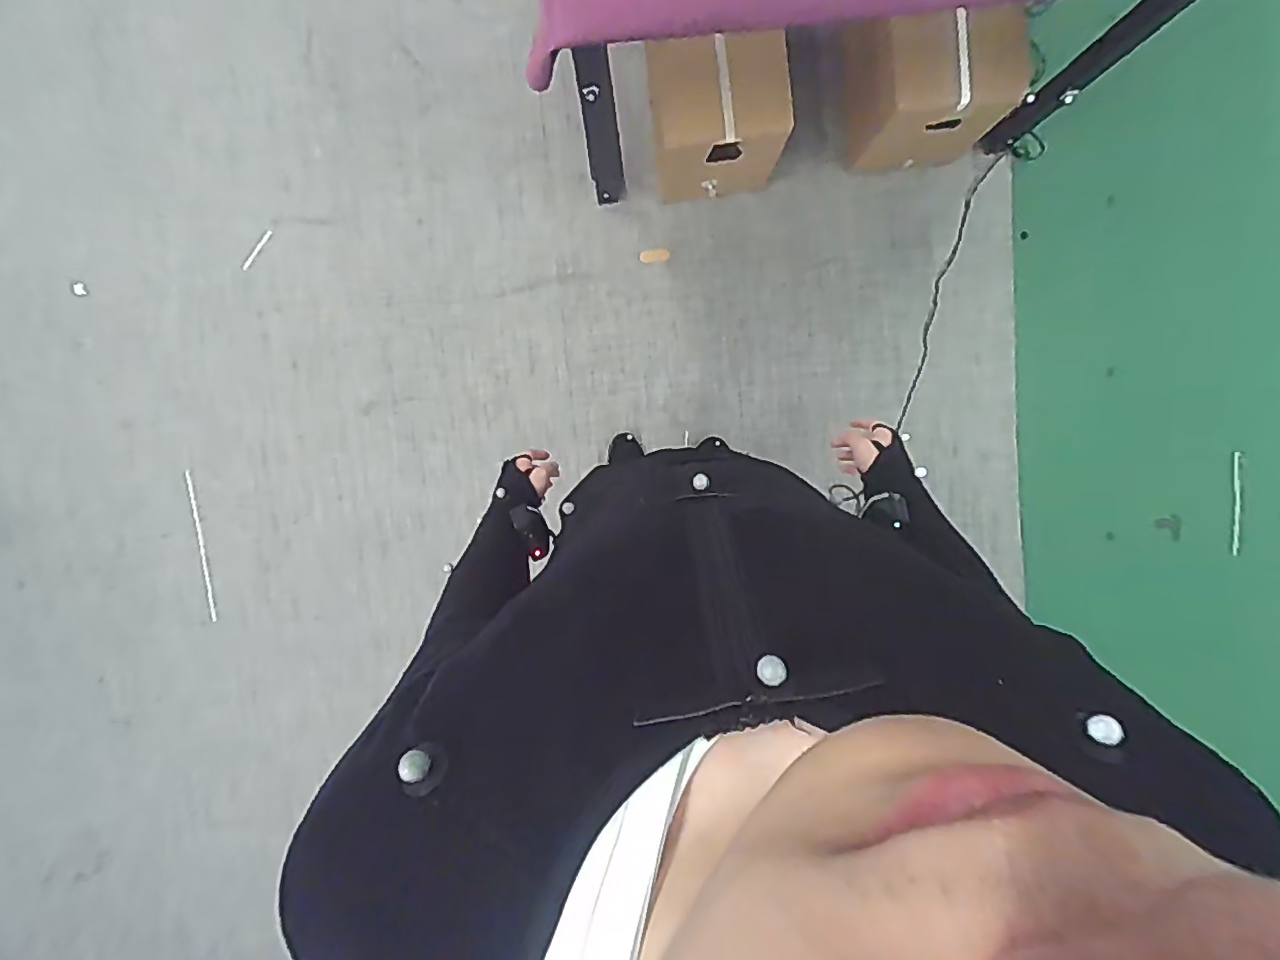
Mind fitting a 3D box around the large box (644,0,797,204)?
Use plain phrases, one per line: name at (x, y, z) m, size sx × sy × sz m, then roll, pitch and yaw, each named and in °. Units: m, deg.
large box at (0.192, -1.007, 1.406) m, size 0.320 × 0.320 × 0.408 m, roll -8°, pitch 93°, yaw 1°
